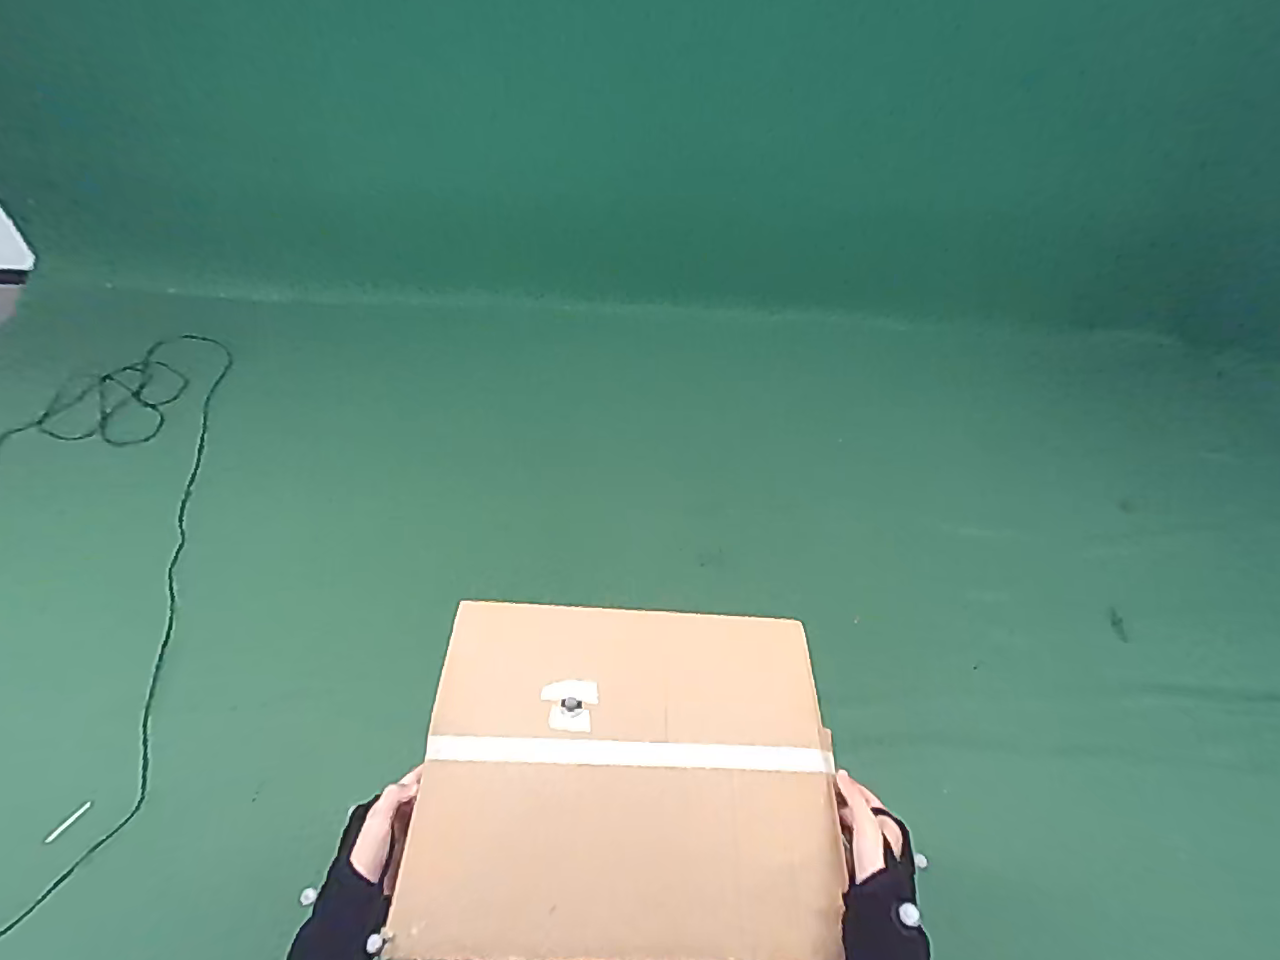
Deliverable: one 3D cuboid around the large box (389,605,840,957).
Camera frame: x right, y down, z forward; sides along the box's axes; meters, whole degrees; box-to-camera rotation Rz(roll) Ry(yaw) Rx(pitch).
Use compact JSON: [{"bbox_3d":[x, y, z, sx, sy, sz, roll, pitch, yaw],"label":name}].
[{"bbox_3d":[-0.026,0.370,0.677,0.408,0.320,0.320,5,53,-3],"label":"large box"}]
